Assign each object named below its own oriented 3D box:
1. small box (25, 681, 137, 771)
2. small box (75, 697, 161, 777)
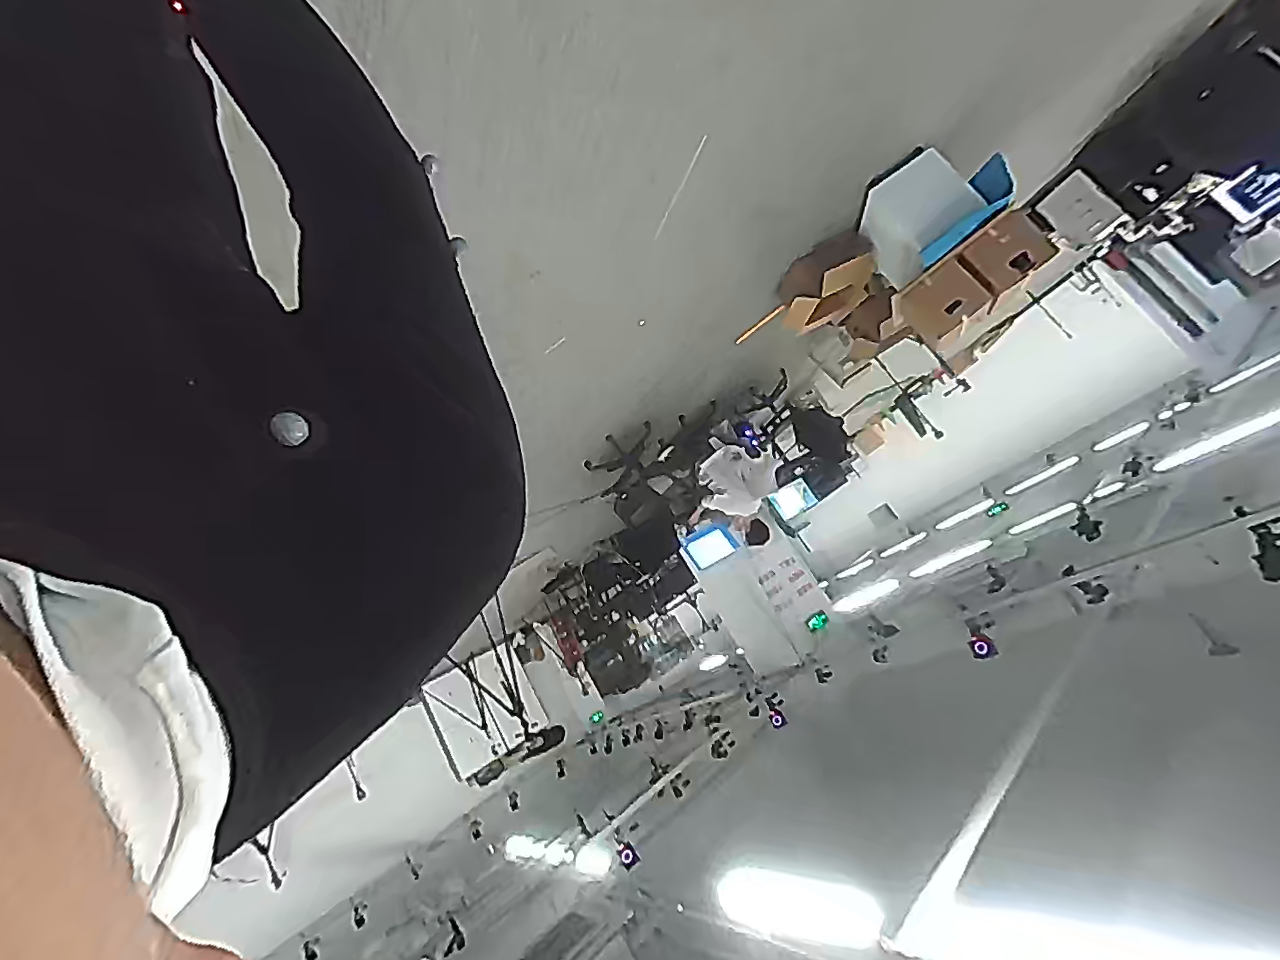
[{"bbox_3d":[-1.570,0.691,1.526,0.168,0.176,0.179,-23,164,-37],"label":"small box"},{"bbox_3d":[-1.680,0.818,1.728,0.168,0.176,0.179,-23,163,-35],"label":"small box"}]
